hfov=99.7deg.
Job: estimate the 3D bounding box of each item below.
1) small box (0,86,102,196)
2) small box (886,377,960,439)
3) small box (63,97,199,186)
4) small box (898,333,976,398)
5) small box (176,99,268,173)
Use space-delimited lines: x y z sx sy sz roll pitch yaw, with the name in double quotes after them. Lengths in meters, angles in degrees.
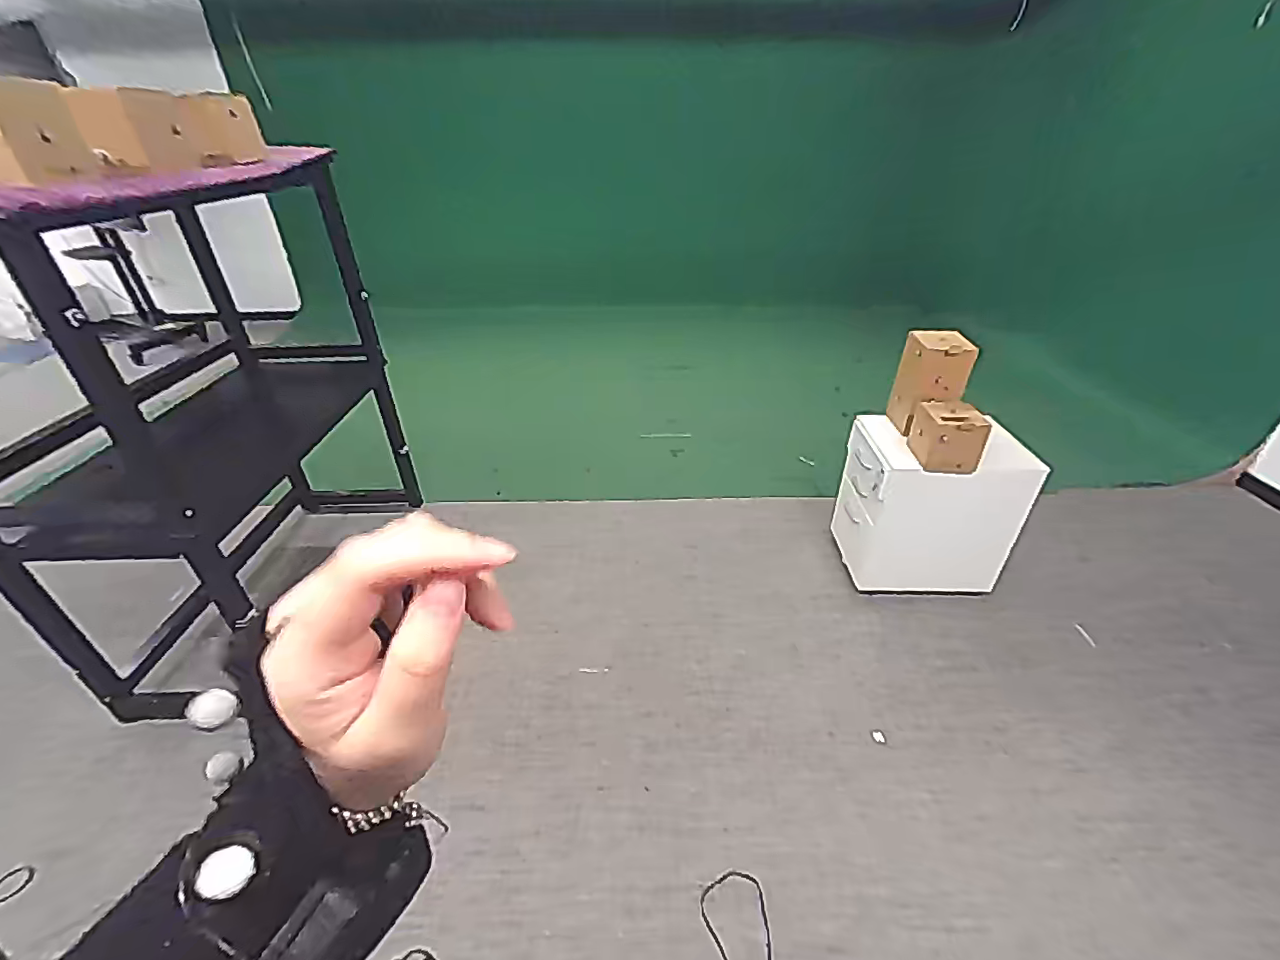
-1.187 -0.629 1.009 0.179 0.176 0.168 -1 32 -1 "small box"
1.026 -0.266 1.978 0.168 0.176 0.179 0 34 1 "small box"
-1.201 -0.802 1.280 0.168 0.176 0.179 -2 34 -1 "small box"
1.026 -0.402 1.887 0.168 0.176 0.179 1 36 2 "small box"
-1.230 -0.995 1.569 0.168 0.176 0.179 -2 33 2 "small box"
